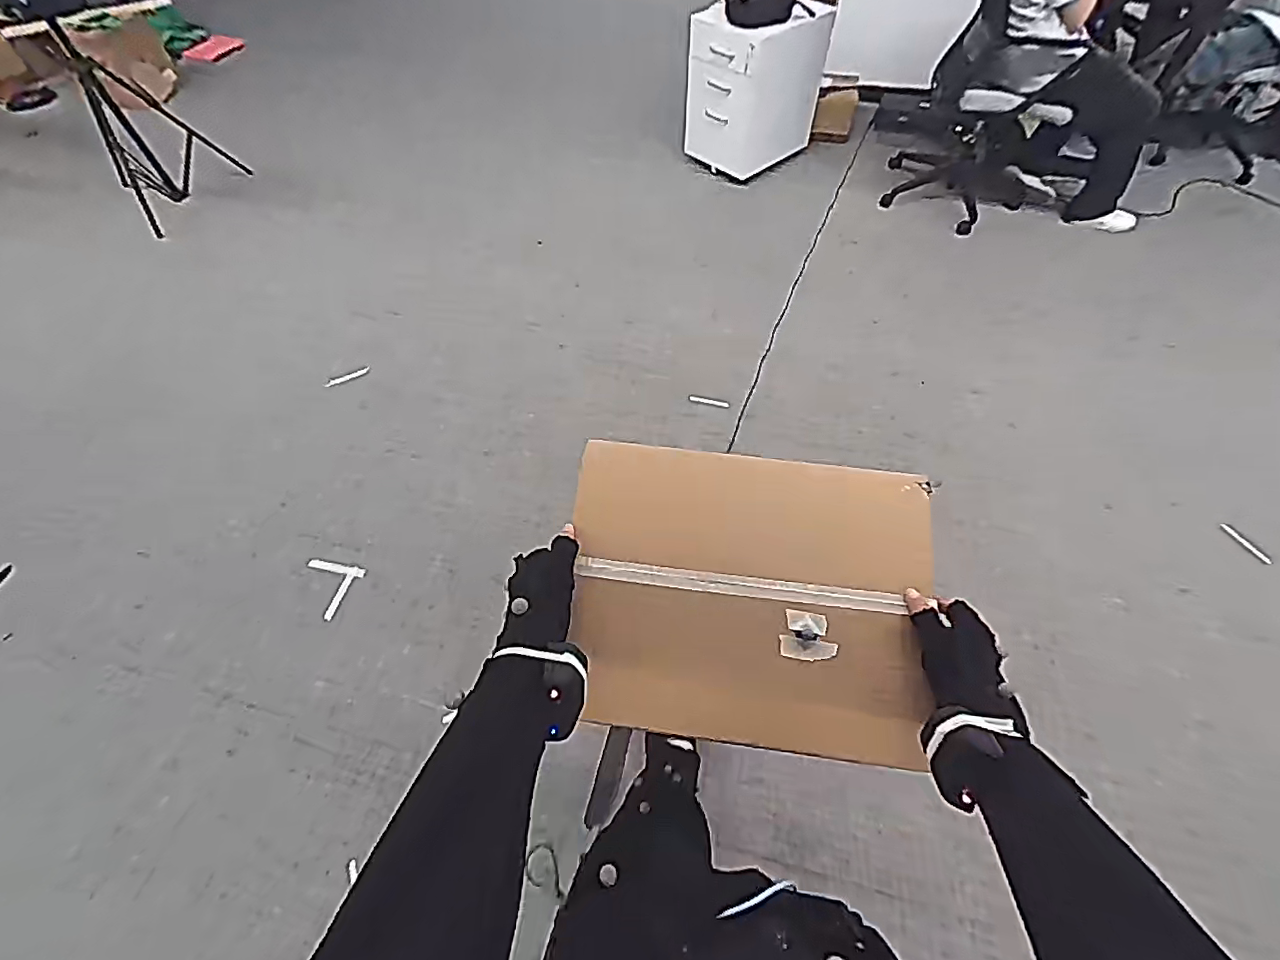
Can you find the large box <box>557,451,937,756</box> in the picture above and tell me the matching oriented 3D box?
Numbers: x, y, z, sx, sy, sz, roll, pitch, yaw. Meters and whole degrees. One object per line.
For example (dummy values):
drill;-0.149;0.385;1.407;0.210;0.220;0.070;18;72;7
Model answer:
large box;0.125;0.178;0.754;0.408;0.320;0.320;6;69;4
